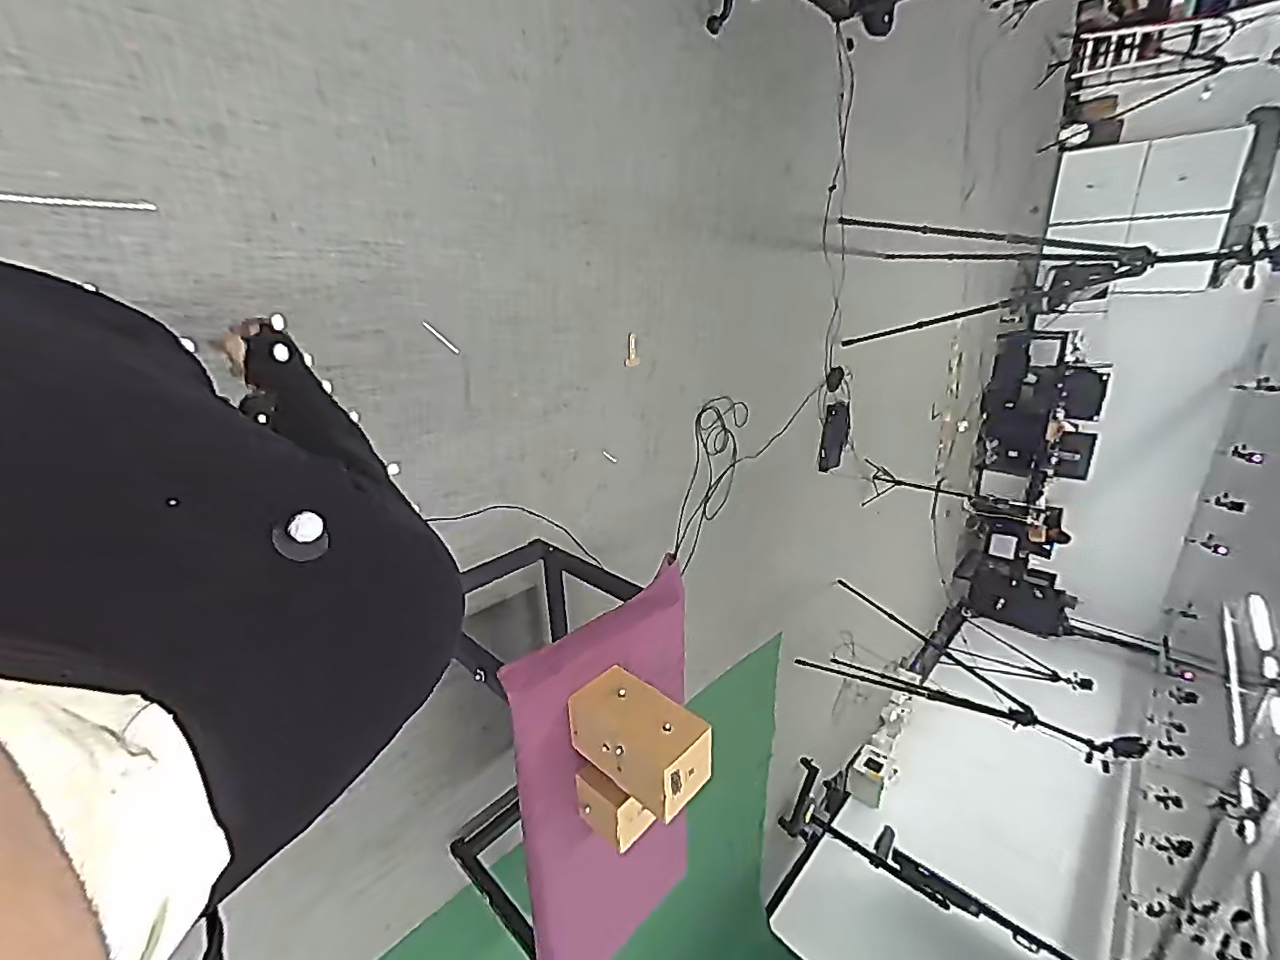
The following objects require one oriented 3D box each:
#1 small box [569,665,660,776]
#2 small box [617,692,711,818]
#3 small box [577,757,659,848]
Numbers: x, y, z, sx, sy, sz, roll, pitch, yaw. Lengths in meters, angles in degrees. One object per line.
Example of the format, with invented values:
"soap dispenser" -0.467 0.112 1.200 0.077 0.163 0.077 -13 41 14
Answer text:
"small box" -0.065 0.619 1.417 0.179 0.176 0.168 -23 118 -43
"small box" 0.055 0.655 1.310 0.179 0.176 0.168 -22 119 -43
"small box" -0.055 0.855 1.503 0.179 0.176 0.168 -22 118 -42
